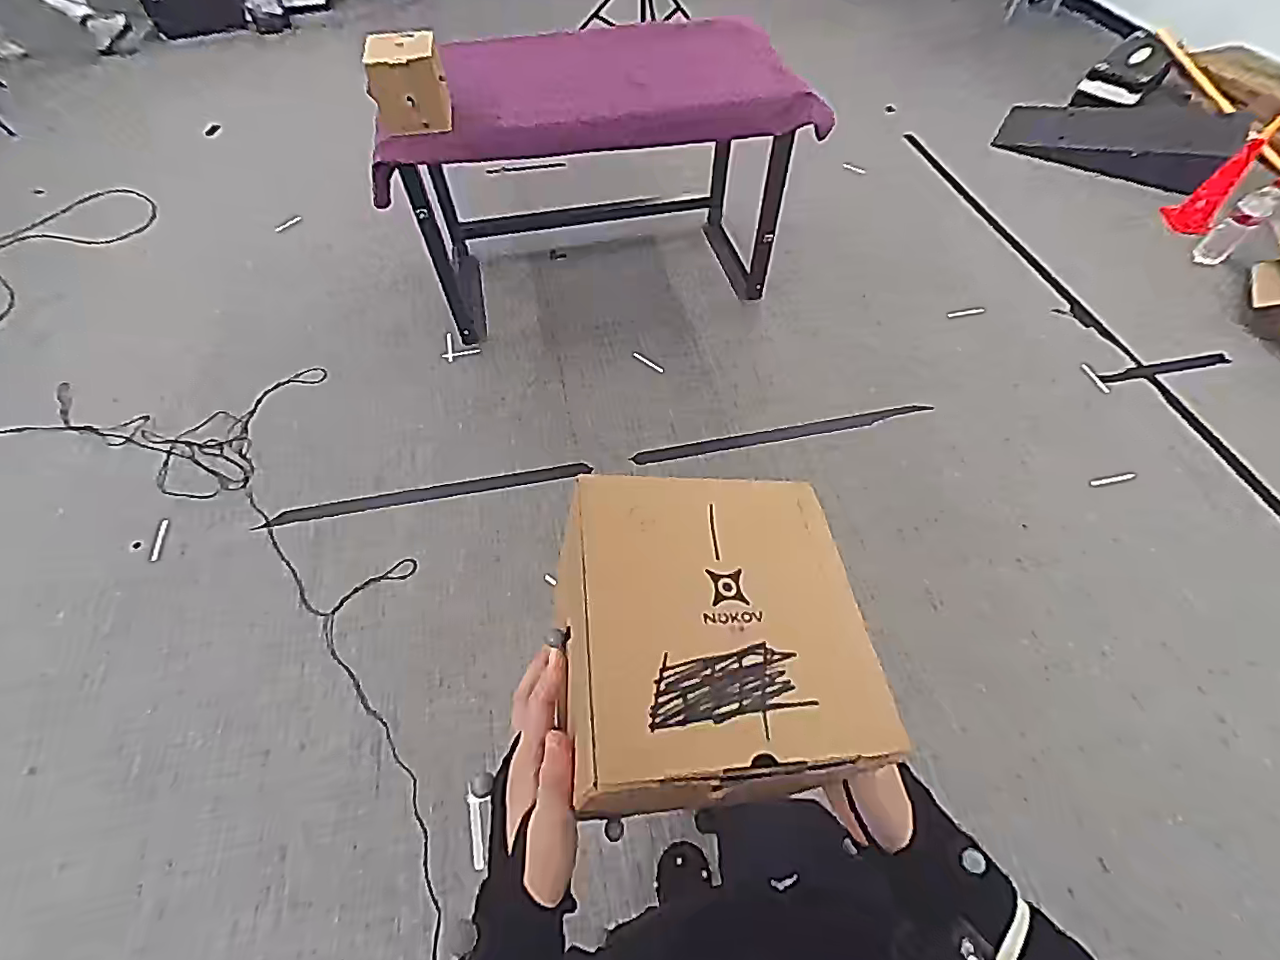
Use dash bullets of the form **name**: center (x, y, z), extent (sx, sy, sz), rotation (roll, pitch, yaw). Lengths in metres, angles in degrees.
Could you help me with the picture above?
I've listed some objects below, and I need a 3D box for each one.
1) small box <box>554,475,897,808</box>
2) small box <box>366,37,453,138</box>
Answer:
- **small box**: center (0.031, 0.117, 0.374), extent (0.168, 0.176, 0.179), rotation (2, 53, -14)
- **small box**: center (-0.596, -1.023, 1.421), extent (0.168, 0.176, 0.179), rotation (-9, 58, -6)
